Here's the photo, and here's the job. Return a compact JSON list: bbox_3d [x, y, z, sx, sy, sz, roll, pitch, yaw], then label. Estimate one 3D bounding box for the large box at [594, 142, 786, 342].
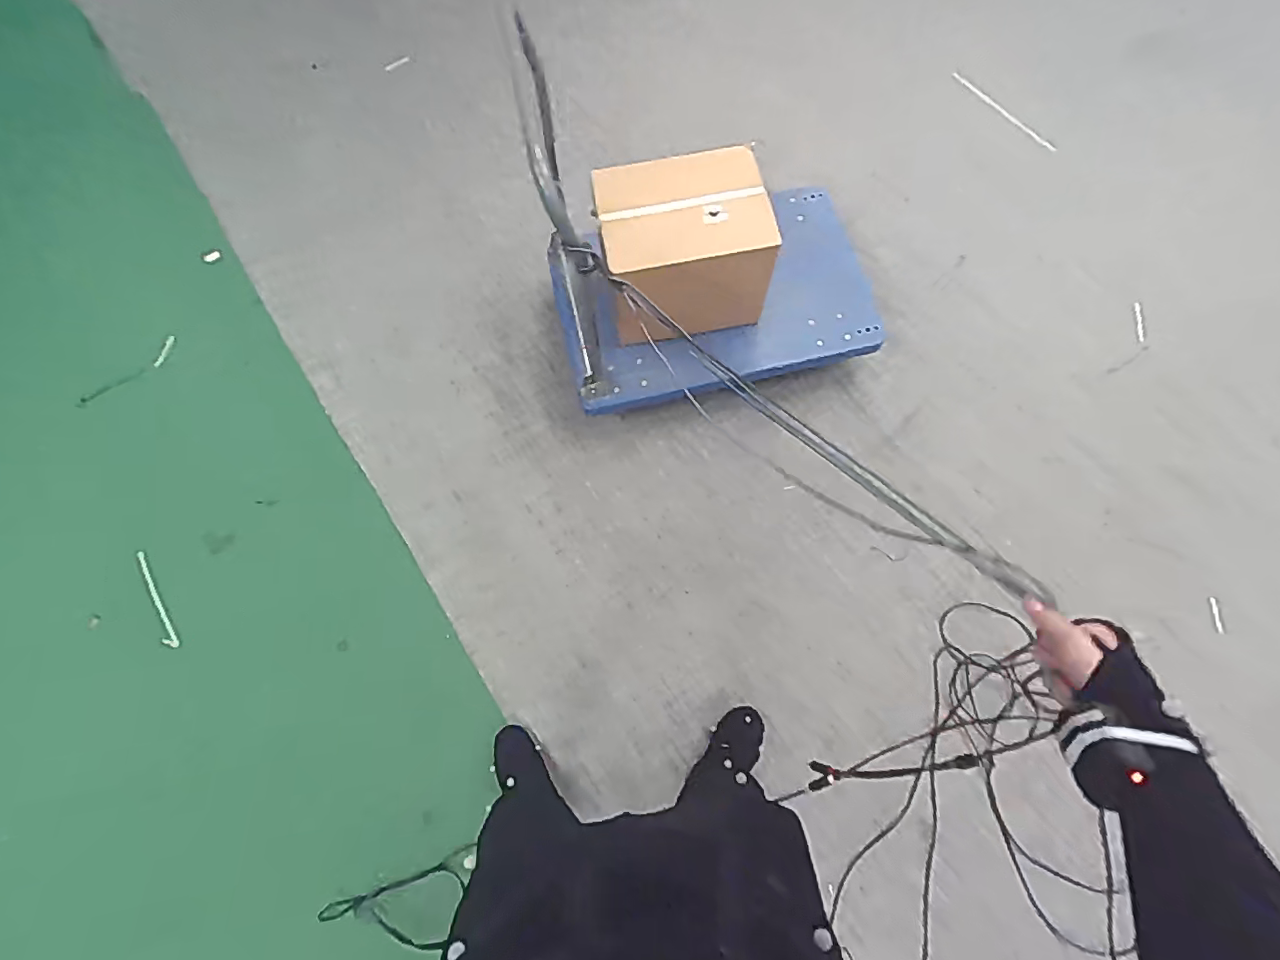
[{"bbox_3d":[0.114,-0.598,1.403,0.408,0.320,0.320,-10,73,-2],"label":"large box"}]
